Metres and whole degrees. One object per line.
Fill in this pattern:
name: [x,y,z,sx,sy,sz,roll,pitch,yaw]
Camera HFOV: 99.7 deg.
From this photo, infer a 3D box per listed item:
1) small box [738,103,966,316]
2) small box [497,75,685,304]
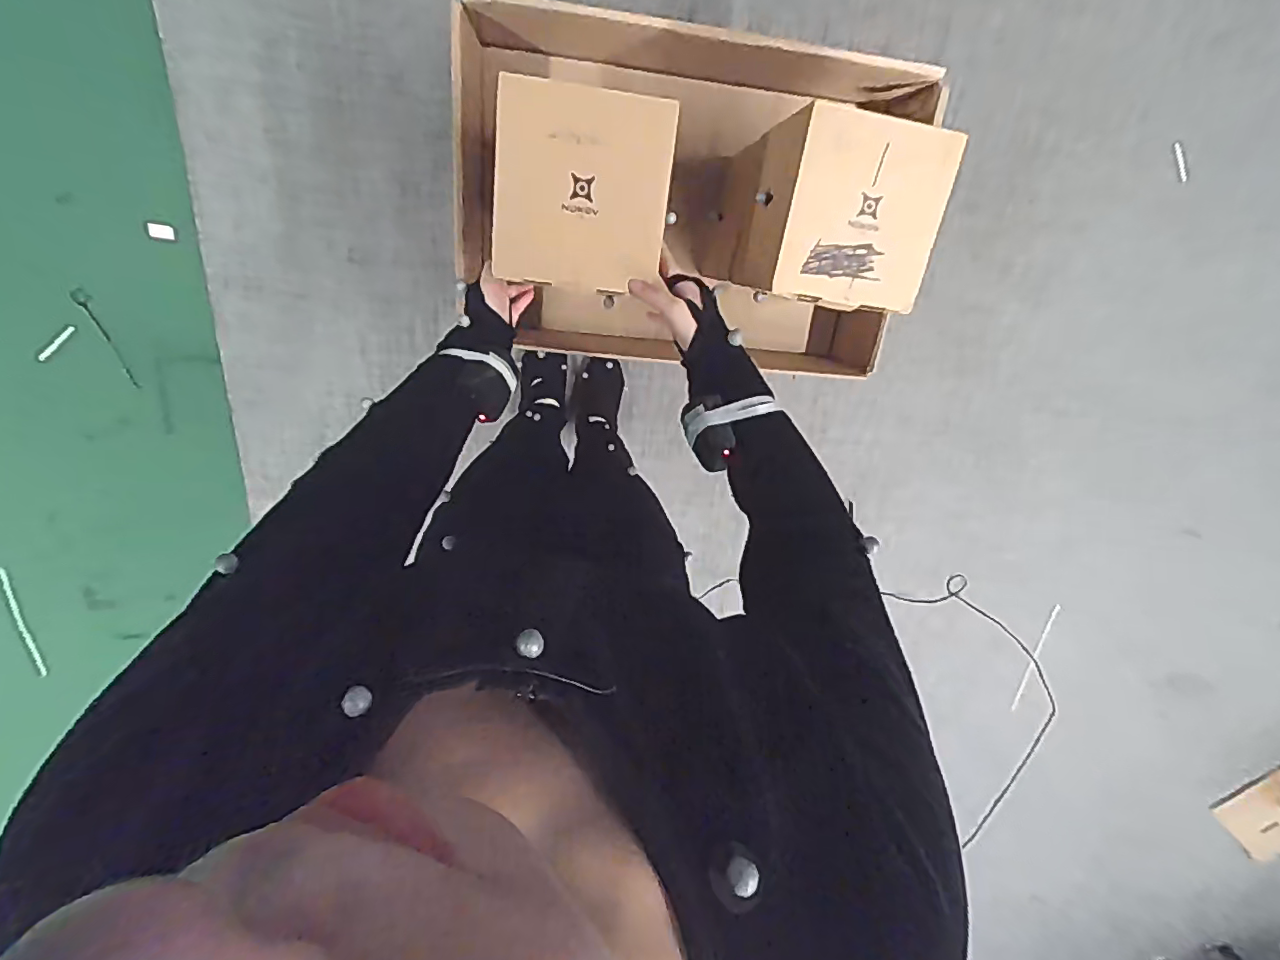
small box: [0.224,-0.300,0.629,0.168,0.176,0.179,6,111,-9]
small box: [-0.054,-0.299,0.592,0.168,0.176,0.179,6,110,-6]
